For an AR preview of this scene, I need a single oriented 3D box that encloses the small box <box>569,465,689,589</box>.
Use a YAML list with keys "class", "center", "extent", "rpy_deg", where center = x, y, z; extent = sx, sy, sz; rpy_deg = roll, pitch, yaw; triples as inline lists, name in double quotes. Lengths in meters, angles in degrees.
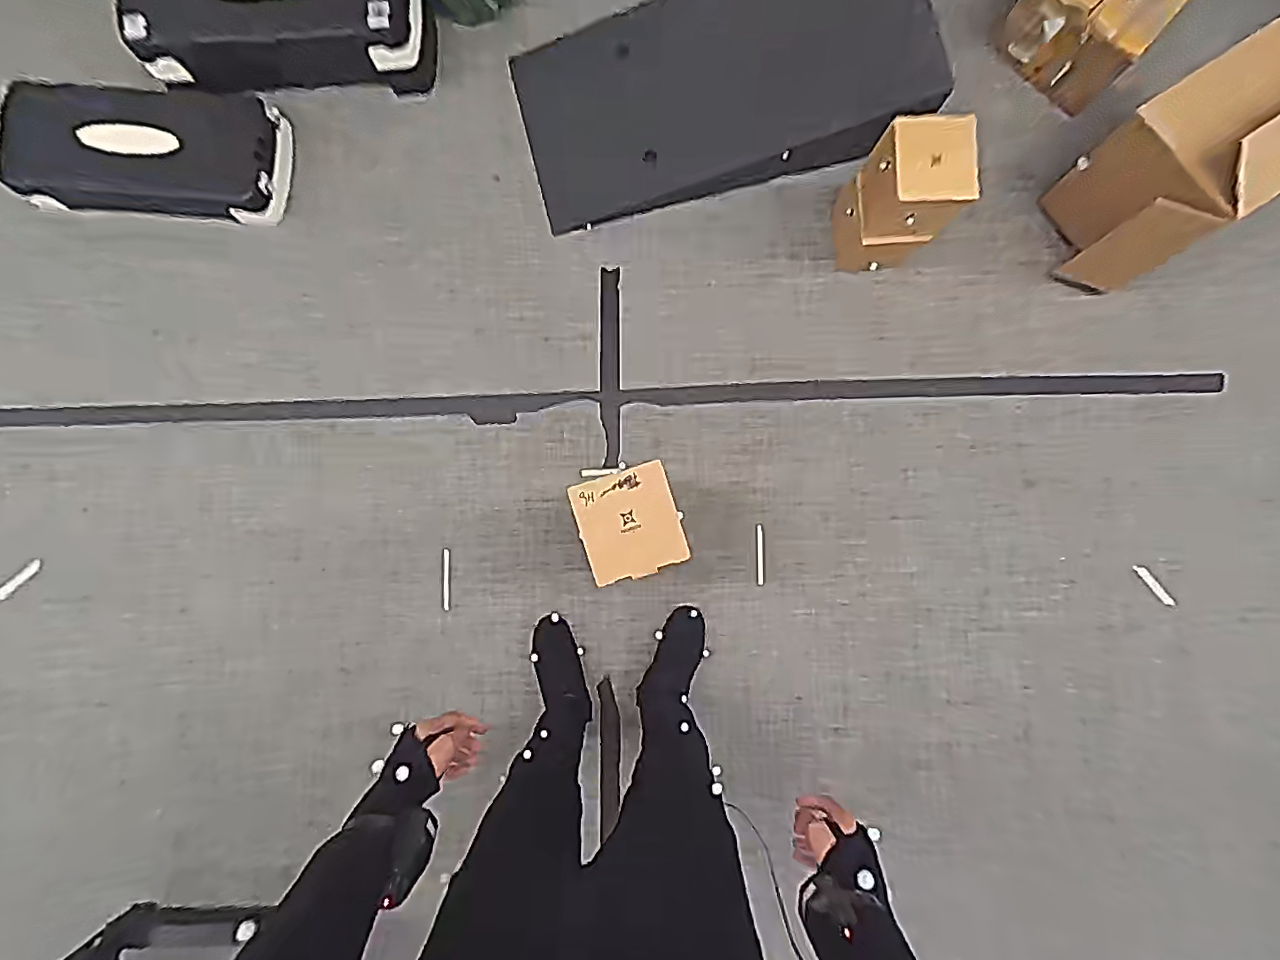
- class: "small box"
  center: [-0.017, 0.079, 0.978]
  extent: [0.168, 0.176, 0.179]
  rpy_deg: [-17, 88, -1]
